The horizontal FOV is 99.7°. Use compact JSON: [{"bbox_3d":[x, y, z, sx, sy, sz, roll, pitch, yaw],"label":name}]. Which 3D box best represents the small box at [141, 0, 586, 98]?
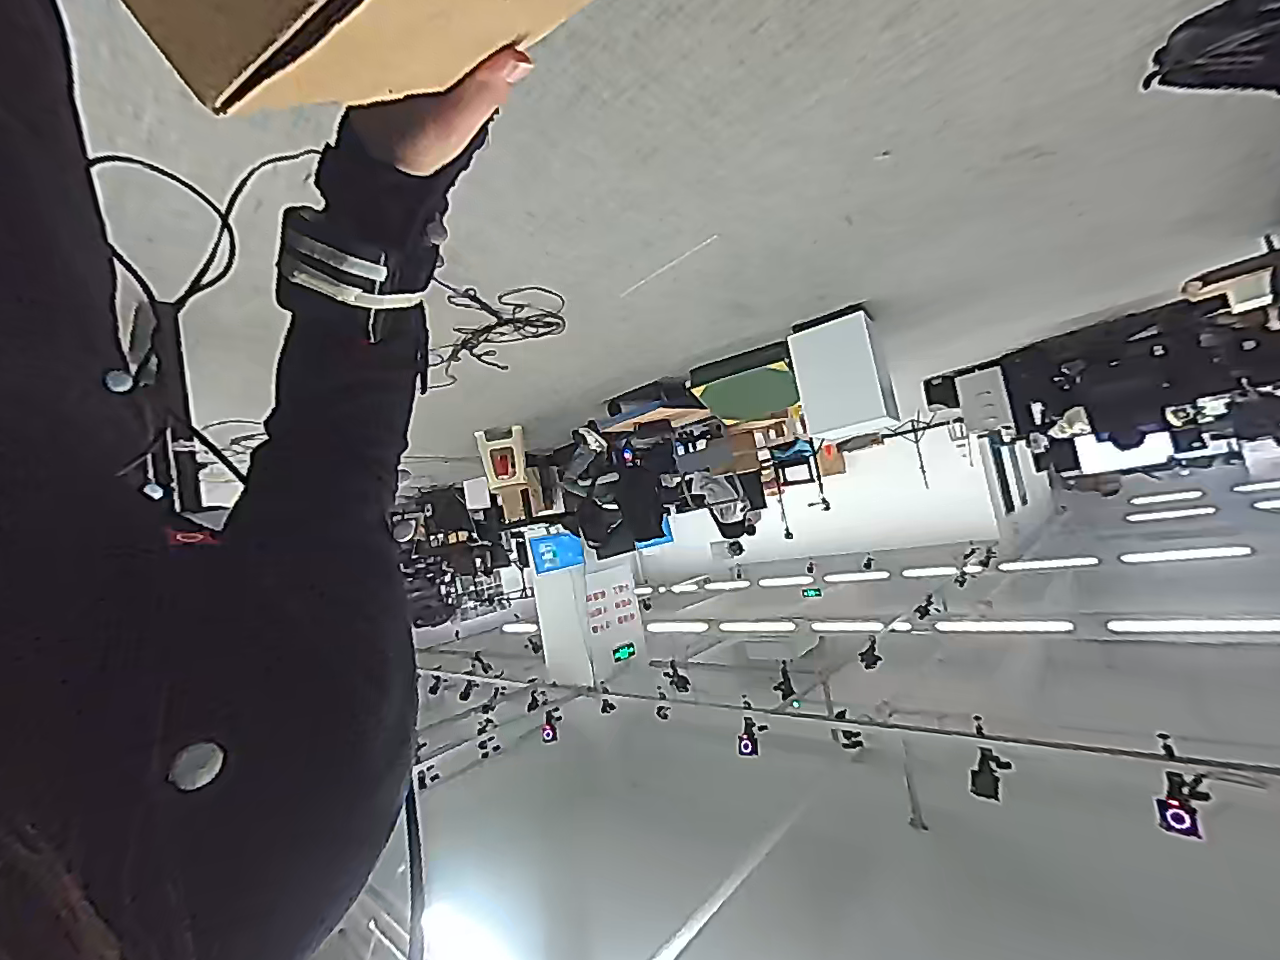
[{"bbox_3d":[-0.070,-0.244,0.148,0.179,0.176,0.168,-14,-147,25],"label":"small box"}]
